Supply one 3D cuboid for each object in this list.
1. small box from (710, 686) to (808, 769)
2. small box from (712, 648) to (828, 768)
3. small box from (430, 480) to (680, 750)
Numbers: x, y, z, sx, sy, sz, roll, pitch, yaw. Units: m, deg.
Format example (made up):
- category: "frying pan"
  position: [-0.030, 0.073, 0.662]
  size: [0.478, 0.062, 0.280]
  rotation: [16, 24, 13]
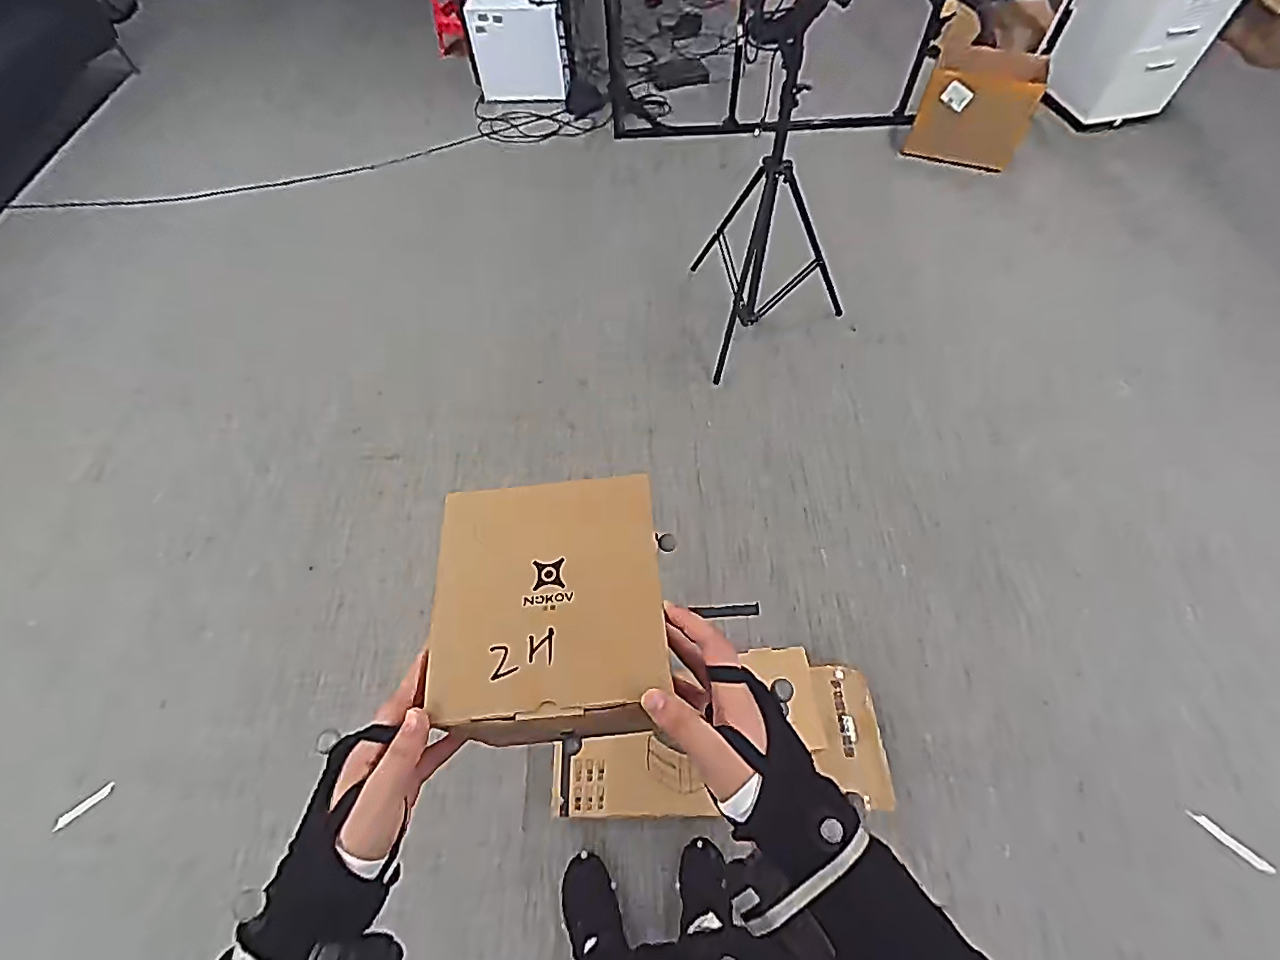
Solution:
- category: "small box"
  position: [0.247, 0.520, 1.163]
  size: [0.168, 0.176, 0.179]
  rotation: [-4, 59, -1]
- category: "small box"
  position: [0.234, 0.435, 1.025]
  size: [0.168, 0.176, 0.179]
  rotation: [-7, 59, -1]
- category: "small box"
  position: [-0.059, 0.121, 0.462]
  size: [0.168, 0.176, 0.179]
  rotation: [-5, 59, 0]
